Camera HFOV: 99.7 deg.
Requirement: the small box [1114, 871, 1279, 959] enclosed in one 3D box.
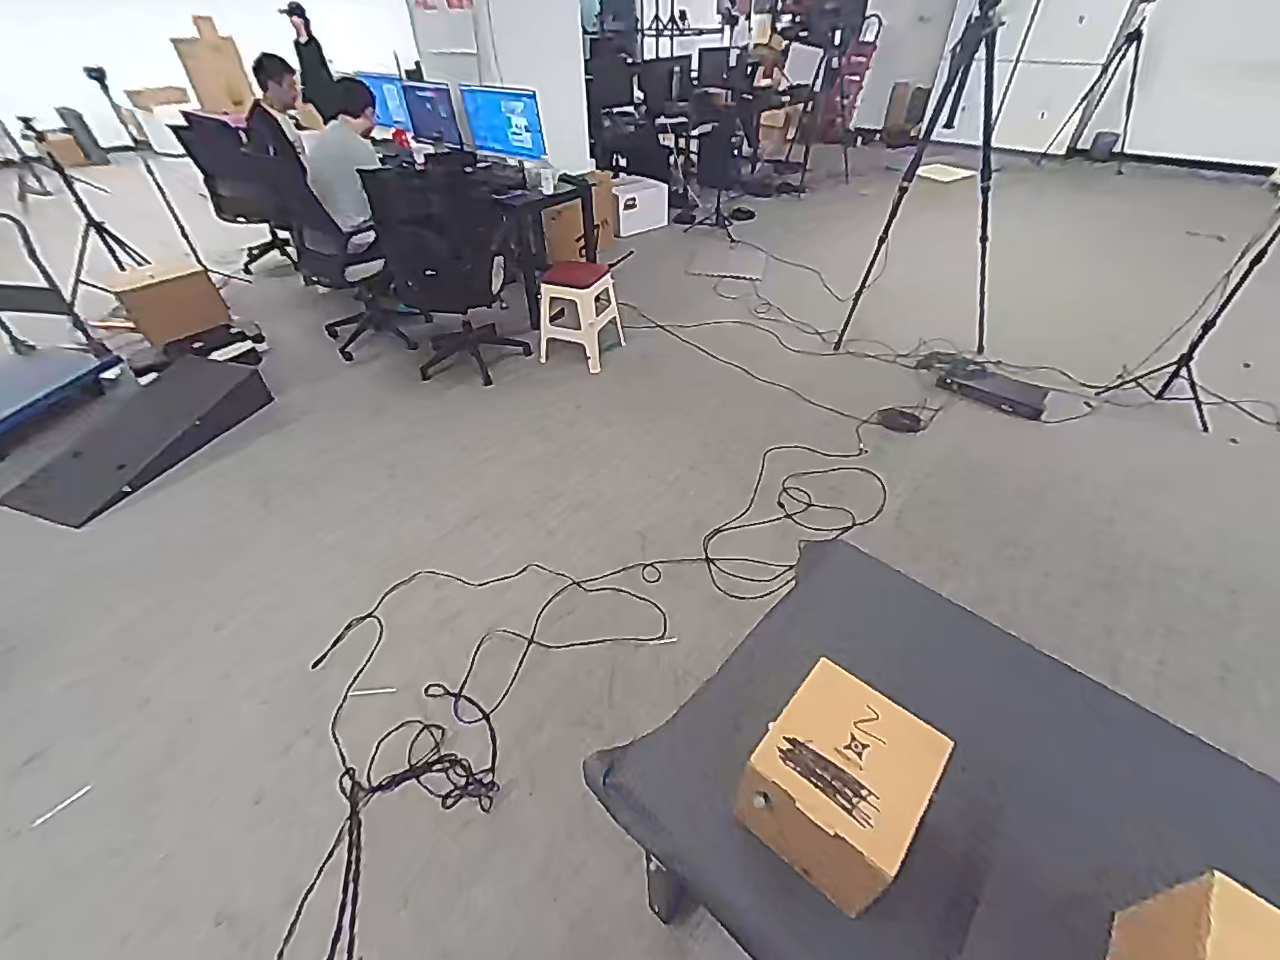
[{"bbox_3d":[0.554,0.508,0.481,0.168,0.176,0.179,31,51,32],"label":"small box"}]
